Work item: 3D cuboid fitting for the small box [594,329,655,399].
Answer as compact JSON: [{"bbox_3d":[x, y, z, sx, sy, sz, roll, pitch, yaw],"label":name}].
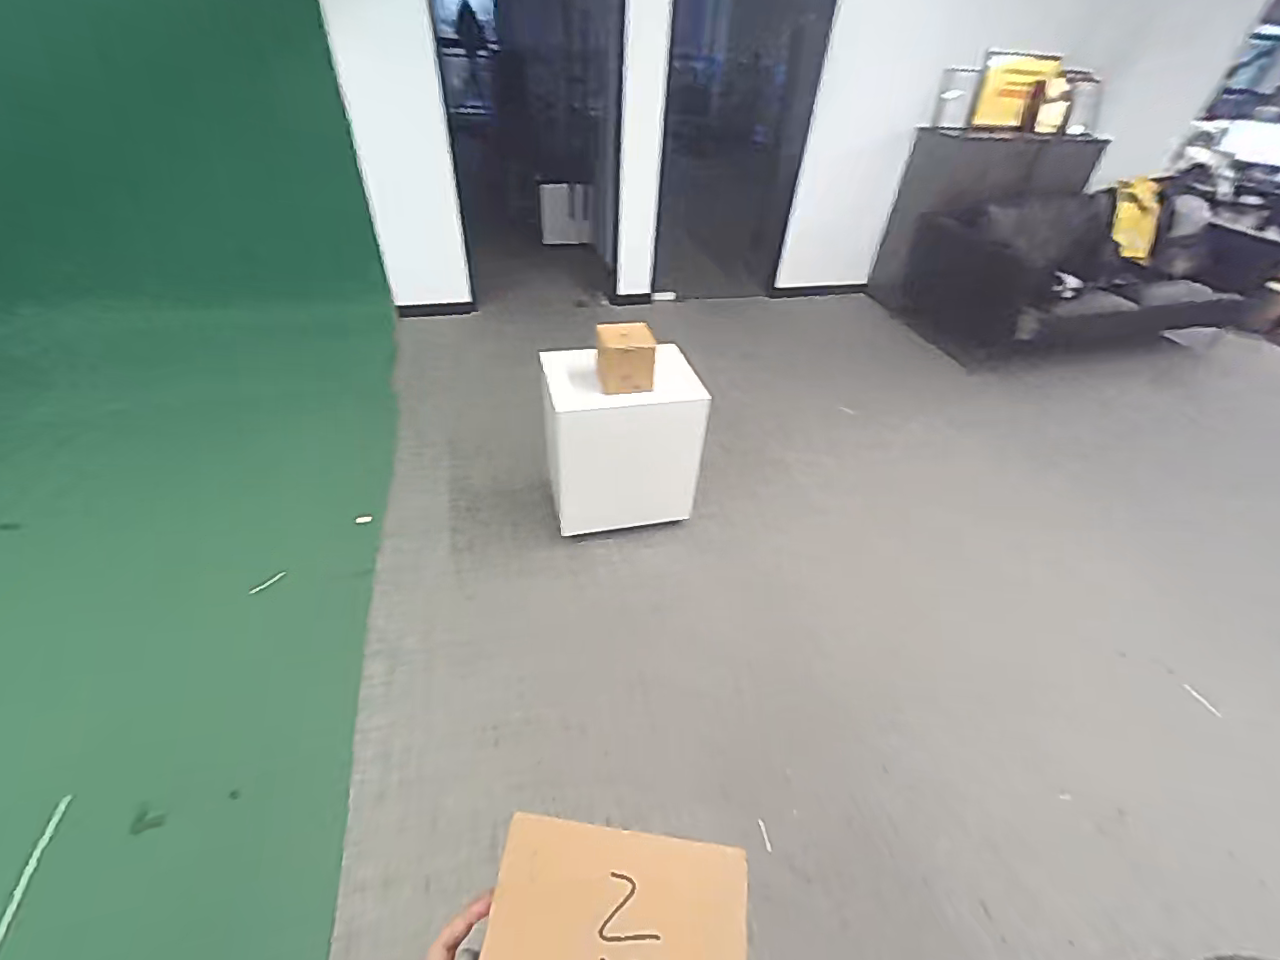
[{"bbox_3d":[-0.057,-0.384,1.780,0.168,0.176,0.179,-7,40,-14],"label":"small box"}]
